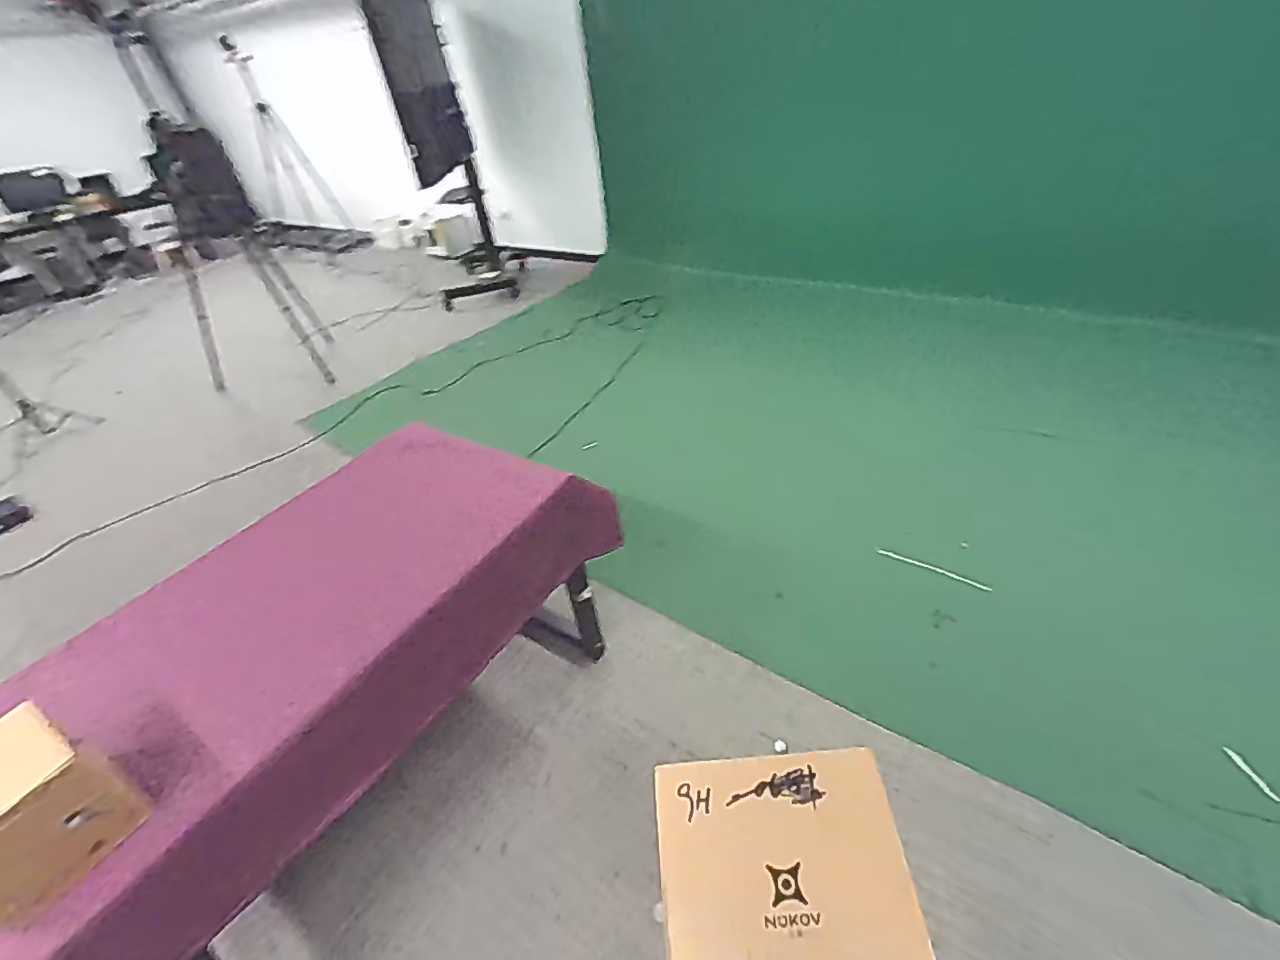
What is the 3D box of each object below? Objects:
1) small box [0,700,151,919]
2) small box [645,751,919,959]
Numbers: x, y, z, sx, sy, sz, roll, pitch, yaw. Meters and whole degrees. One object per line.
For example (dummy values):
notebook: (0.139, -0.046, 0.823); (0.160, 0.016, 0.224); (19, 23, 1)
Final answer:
small box: (-0.820, 0.440, 0.723); (0.179, 0.176, 0.168); (16, 43, 28)
small box: (0.098, 0.327, 0.418); (0.168, 0.176, 0.179); (-7, 52, 2)
